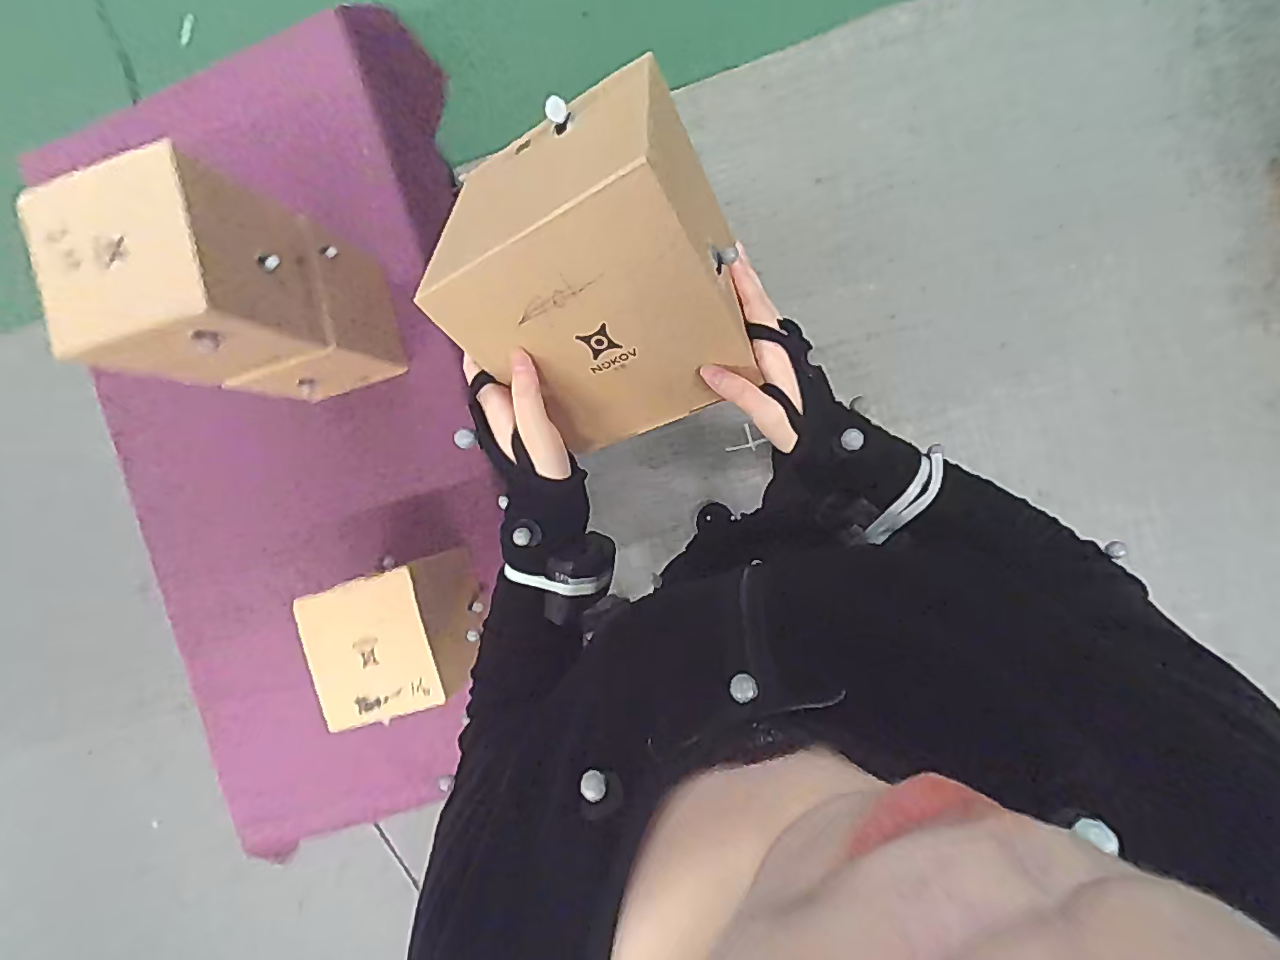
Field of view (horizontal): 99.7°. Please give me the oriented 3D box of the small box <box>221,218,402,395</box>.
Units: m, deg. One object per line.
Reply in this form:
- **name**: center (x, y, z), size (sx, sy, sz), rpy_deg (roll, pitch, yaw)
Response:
- **small box**: center (-0.466, -0.225, 0.759), size (0.168, 0.176, 0.179), rpy_deg (-16, 89, 8)

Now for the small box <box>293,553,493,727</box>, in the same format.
- **small box**: center (-0.328, 0.206, 0.750), size (0.168, 0.176, 0.179), rpy_deg (-17, 88, 8)

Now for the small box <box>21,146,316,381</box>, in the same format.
- **small box**: center (-0.494, -0.219, 0.597), size (0.179, 0.176, 0.168), rpy_deg (-13, 89, 8)

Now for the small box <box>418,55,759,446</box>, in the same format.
- **small box**: center (-0.021, -0.158, 0.402), size (0.168, 0.179, 0.176), rpy_deg (-17, 49, 24)
